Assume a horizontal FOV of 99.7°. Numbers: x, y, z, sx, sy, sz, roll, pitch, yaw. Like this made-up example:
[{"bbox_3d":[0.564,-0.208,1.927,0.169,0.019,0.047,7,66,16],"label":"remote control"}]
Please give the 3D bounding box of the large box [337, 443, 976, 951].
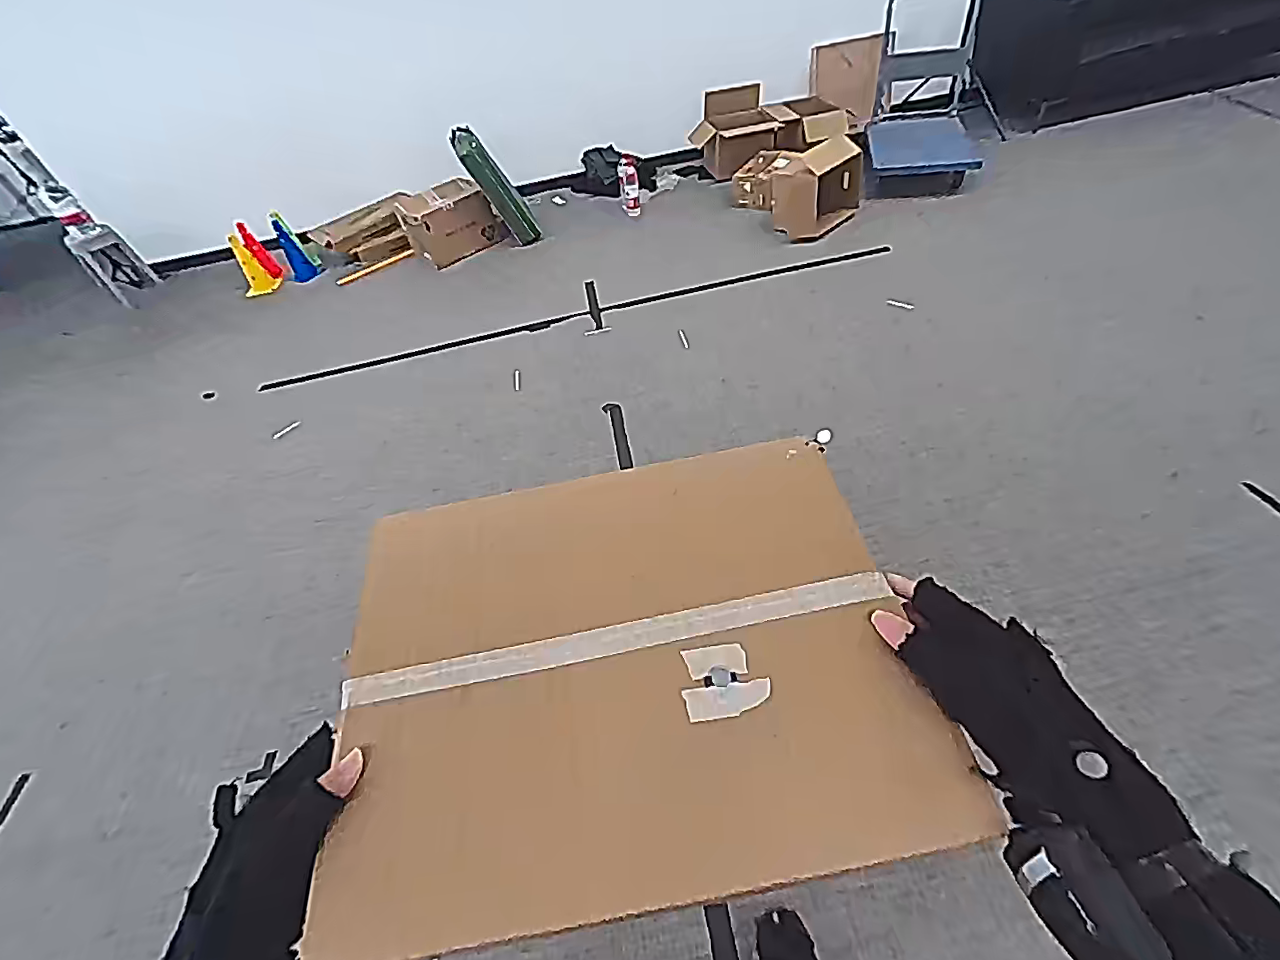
[{"bbox_3d":[0.002,0.211,0.531,0.408,0.320,0.320,-11,53,-1],"label":"large box"}]
